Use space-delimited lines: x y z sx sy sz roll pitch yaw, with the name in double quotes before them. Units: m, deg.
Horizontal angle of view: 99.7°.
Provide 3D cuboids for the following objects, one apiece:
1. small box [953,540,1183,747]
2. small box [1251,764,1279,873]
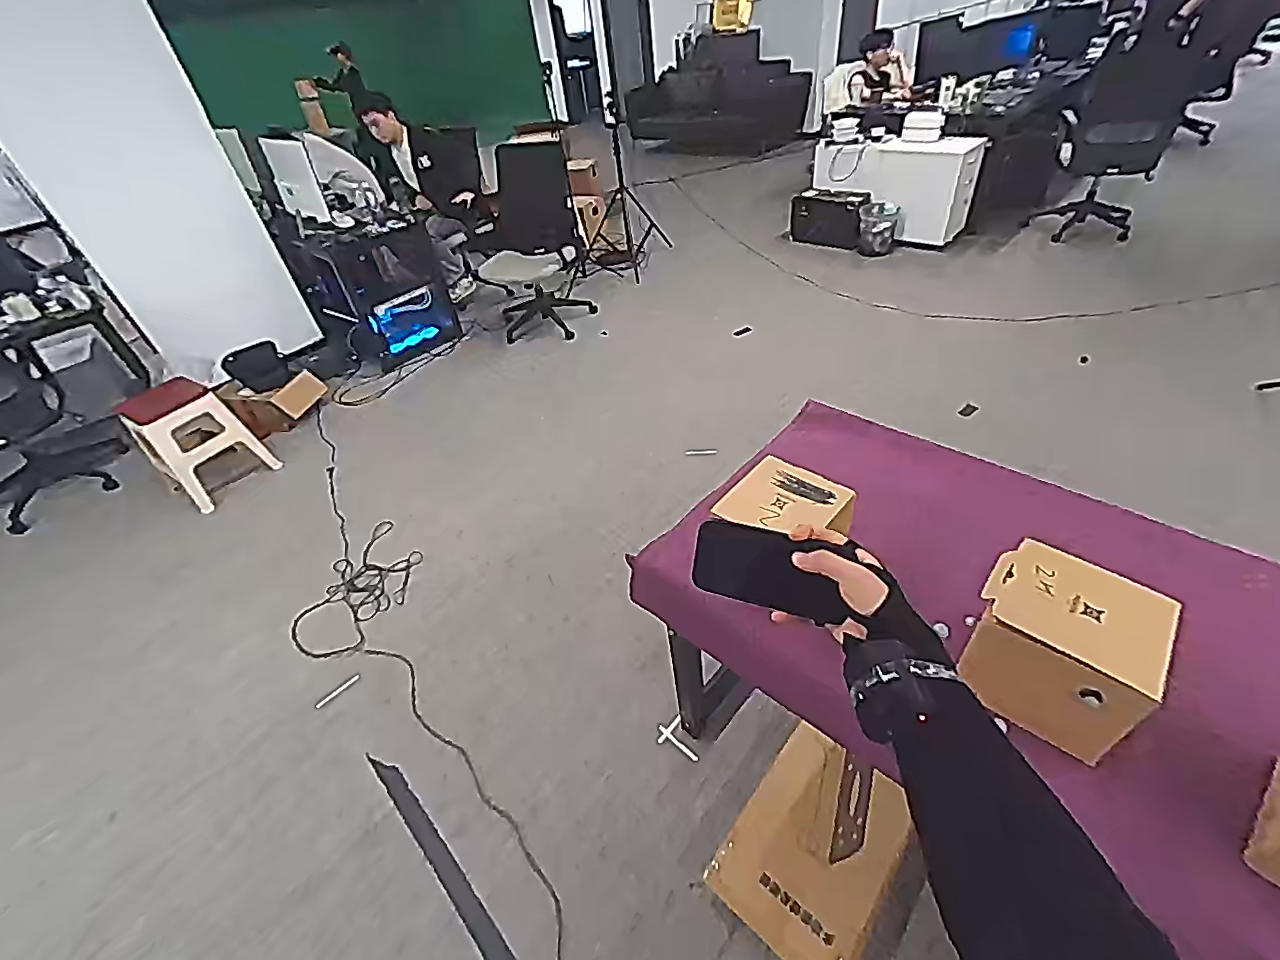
"small box" 0.552 0.218 0.715 0.179 0.176 0.168 27 50 34
"small box" 0.771 0.350 0.526 0.168 0.176 0.179 -34 47 -26
